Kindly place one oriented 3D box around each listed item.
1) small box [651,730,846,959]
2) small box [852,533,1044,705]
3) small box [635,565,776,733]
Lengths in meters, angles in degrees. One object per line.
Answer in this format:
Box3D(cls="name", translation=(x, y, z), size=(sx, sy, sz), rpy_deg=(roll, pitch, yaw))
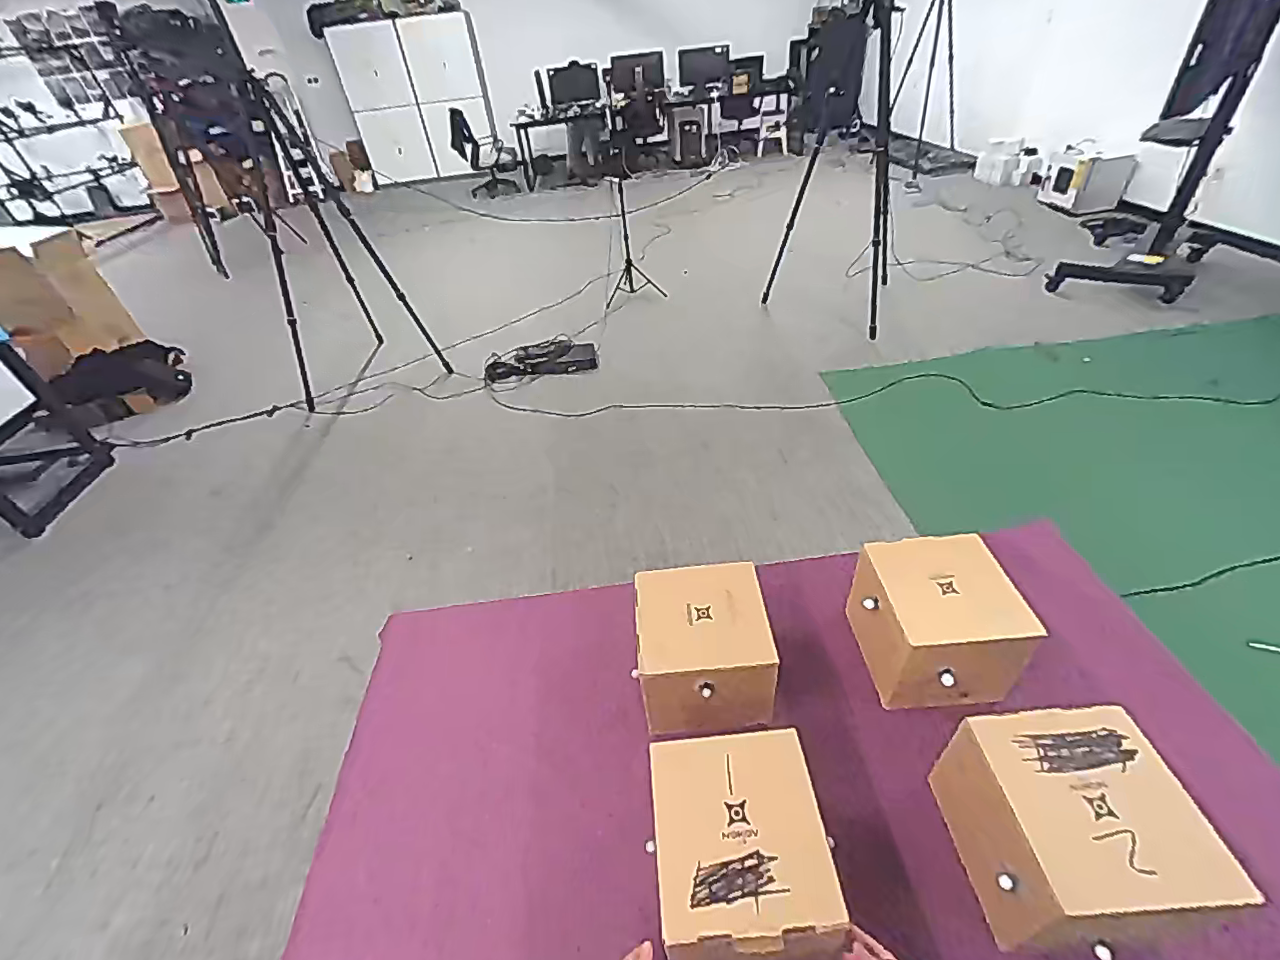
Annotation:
Box3D(cls="small box", translation=(0.106, 0.401, 0.582), size=(0.168, 0.176, 0.179), rpy_deg=(-7, 38, 2))
Box3D(cls="small box", translation=(0.416, 0.202, 0.768), size=(0.168, 0.176, 0.179), rpy_deg=(-7, 39, 3))
Box3D(cls="small box", translation=(0.090, 0.244, 0.776), size=(0.179, 0.176, 0.168), rpy_deg=(-5, 40, 3))
